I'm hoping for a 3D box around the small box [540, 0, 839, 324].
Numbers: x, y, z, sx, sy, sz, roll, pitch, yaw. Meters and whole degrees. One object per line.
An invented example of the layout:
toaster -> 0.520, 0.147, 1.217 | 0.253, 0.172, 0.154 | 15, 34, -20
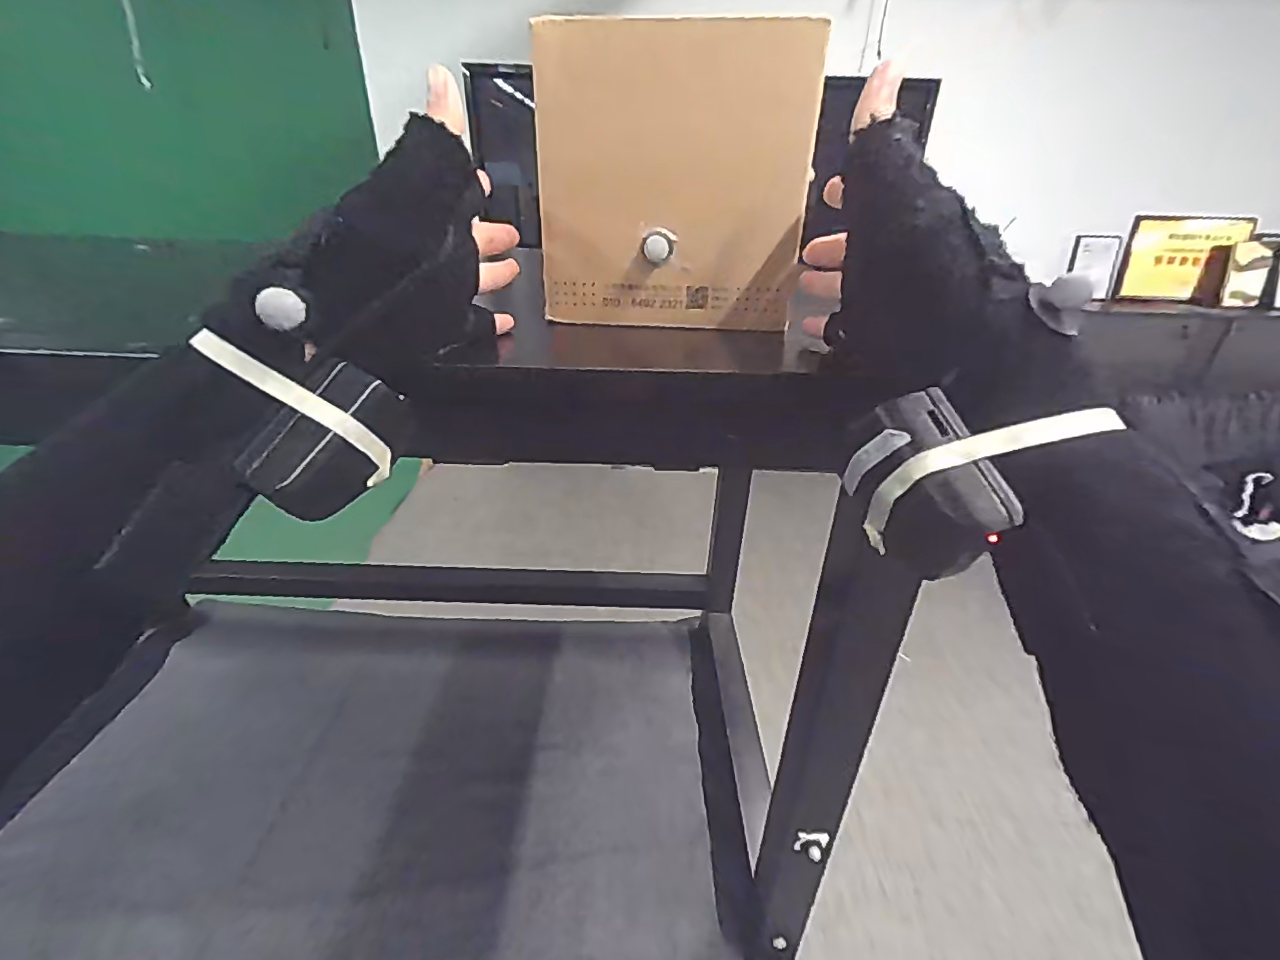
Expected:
small box -> 0.031, -0.221, 0.399 | 0.168, 0.176, 0.179 | 4, 29, 5
